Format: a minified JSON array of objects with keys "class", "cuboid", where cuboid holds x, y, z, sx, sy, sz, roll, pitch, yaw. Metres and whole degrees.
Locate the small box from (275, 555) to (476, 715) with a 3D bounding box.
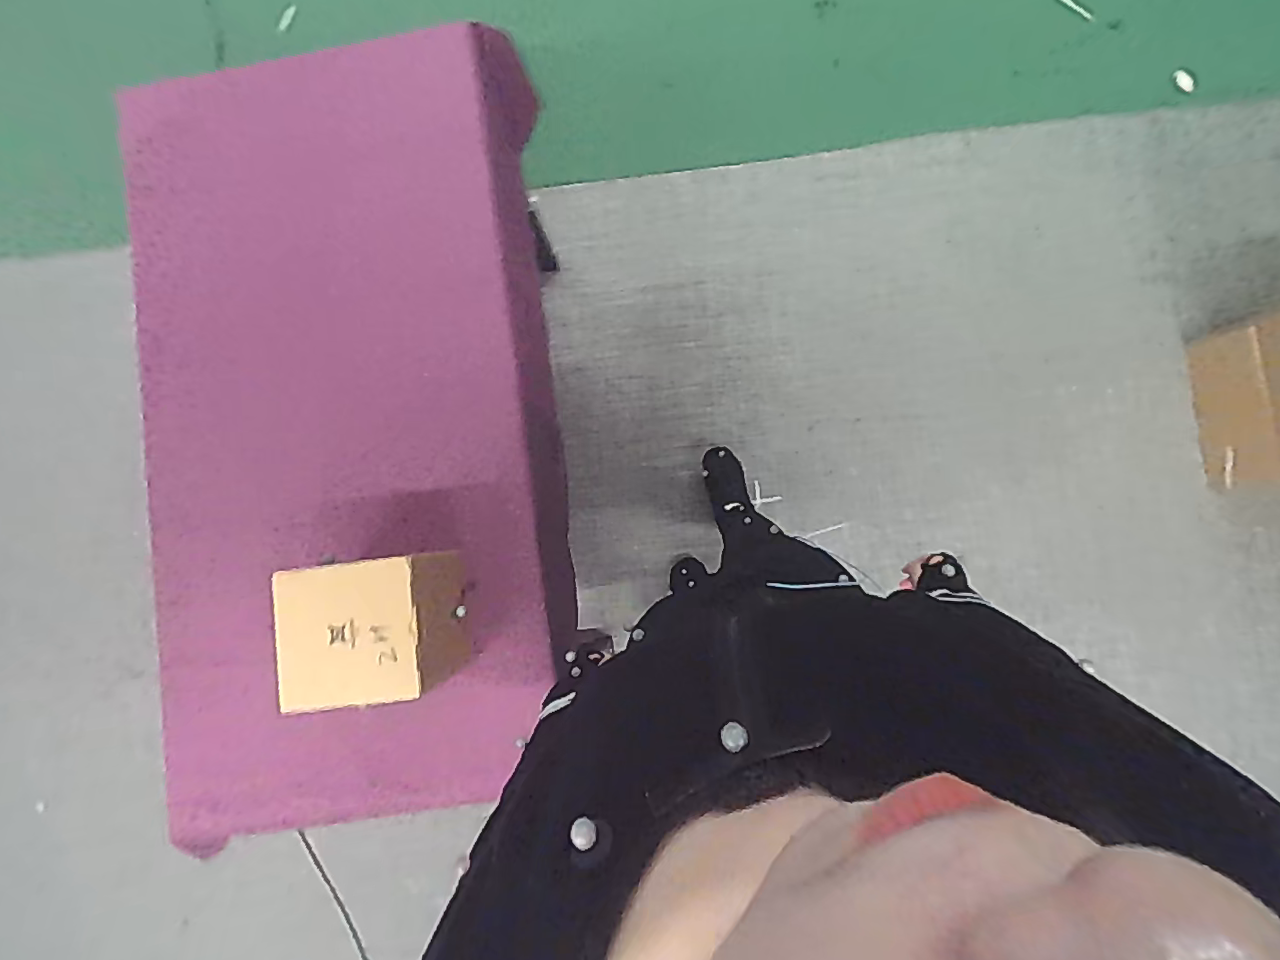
[{"class":"small box","cuboid":[-0.338,0.193,0.715,0.179,0.176,0.168,-8,85,3]}]
